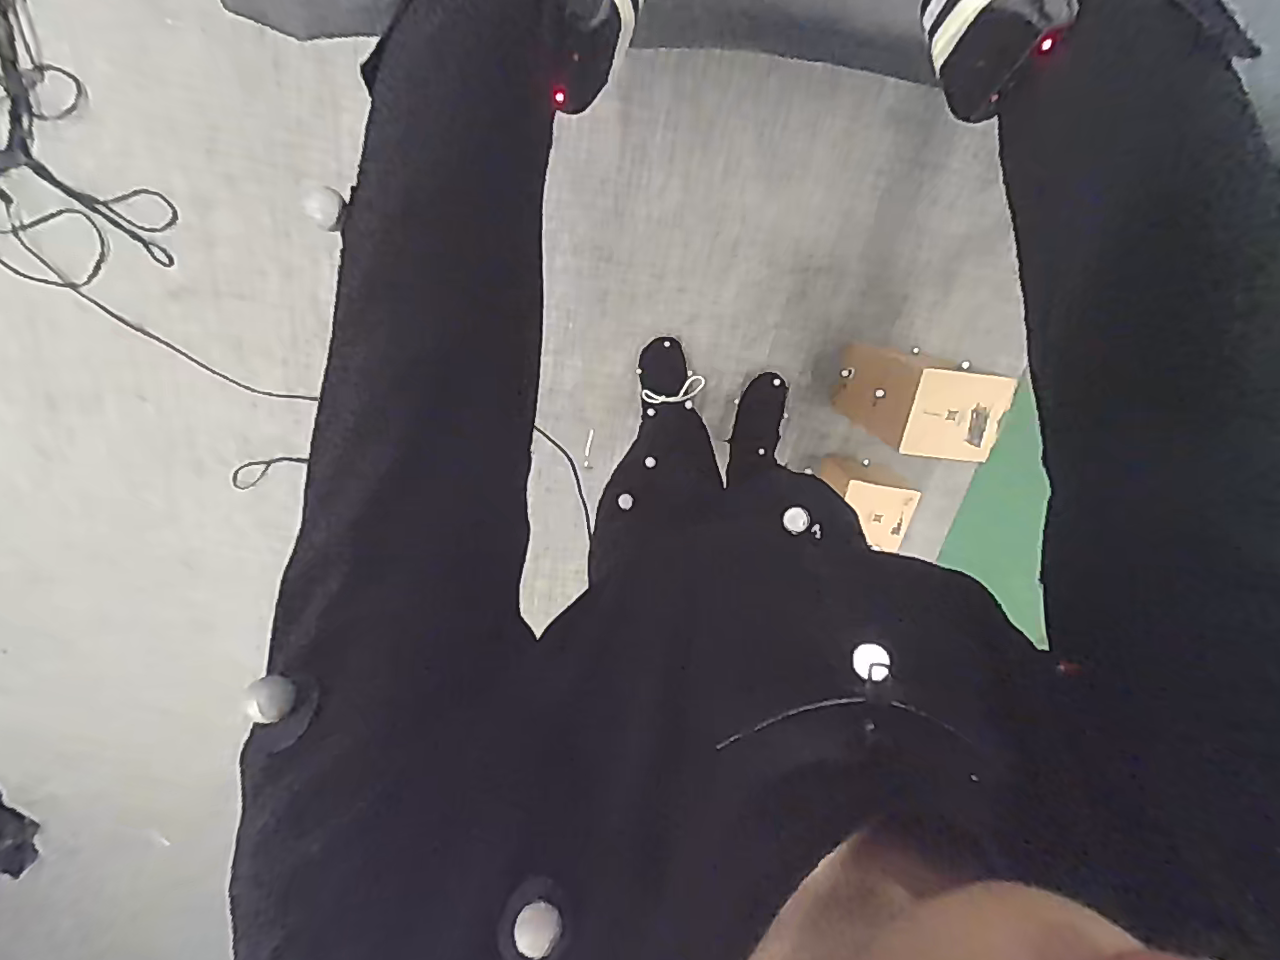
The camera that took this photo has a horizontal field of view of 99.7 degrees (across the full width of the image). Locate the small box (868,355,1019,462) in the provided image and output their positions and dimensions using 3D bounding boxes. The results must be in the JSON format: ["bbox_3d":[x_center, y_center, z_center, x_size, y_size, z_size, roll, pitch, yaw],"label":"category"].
[{"bbox_3d":[0.582,-0.146,1.063,0.179,0.176,0.168,6,111,-2],"label":"small box"}]

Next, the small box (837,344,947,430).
[{"bbox_3d":[0.573,-0.206,1.215,0.179,0.176,0.168,6,111,-2],"label":"small box"}]

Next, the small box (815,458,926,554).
[{"bbox_3d":[0.550,0.056,1.323,0.179,0.176,0.168,11,113,-3],"label":"small box"}]
